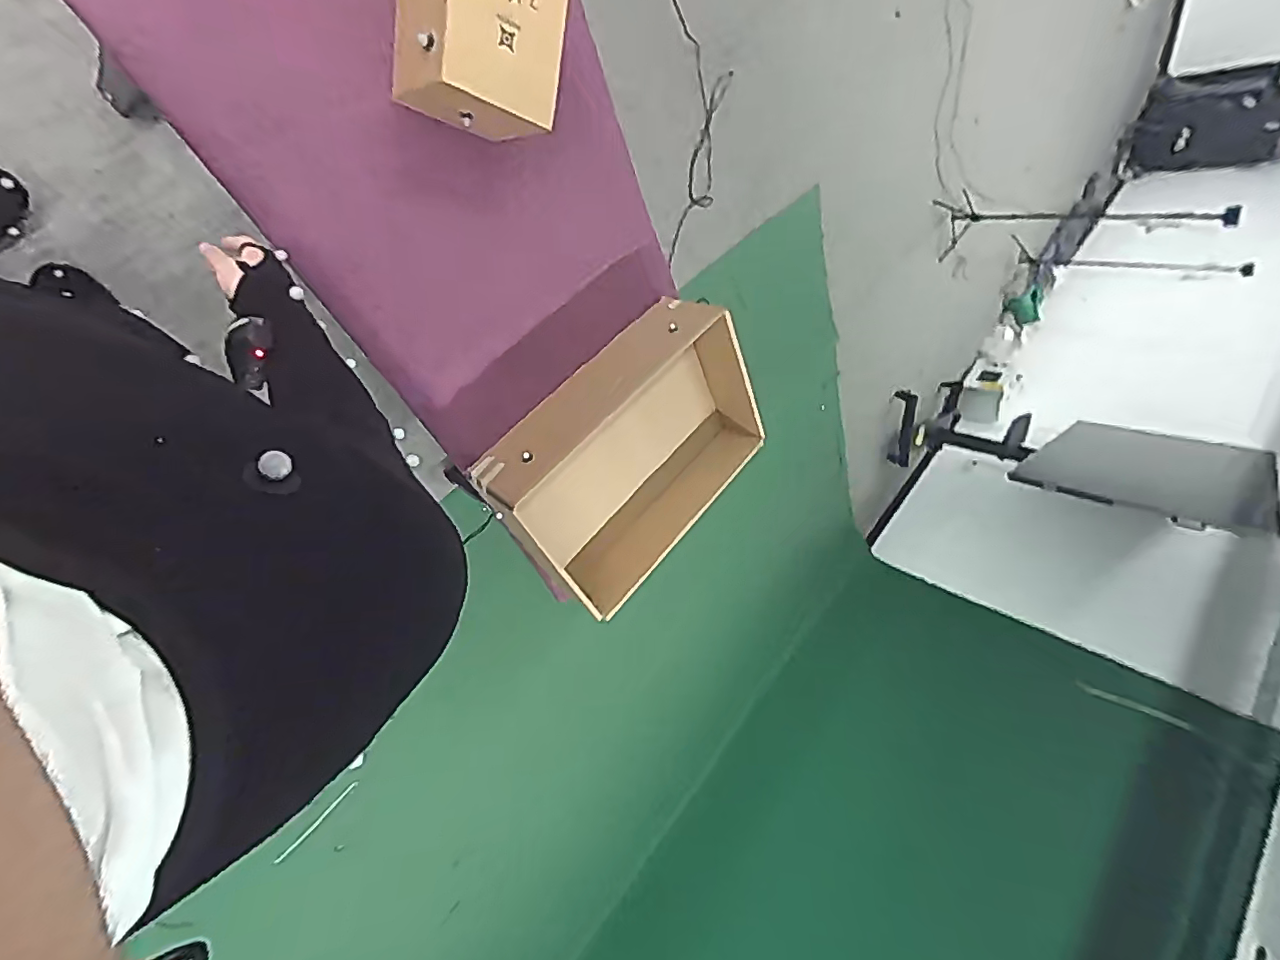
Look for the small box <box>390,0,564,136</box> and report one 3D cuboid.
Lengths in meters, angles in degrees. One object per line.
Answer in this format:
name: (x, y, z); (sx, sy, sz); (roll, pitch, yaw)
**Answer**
small box: (-0.231, -0.605, 0.750); (0.168, 0.176, 0.179); (-5, 113, -45)
